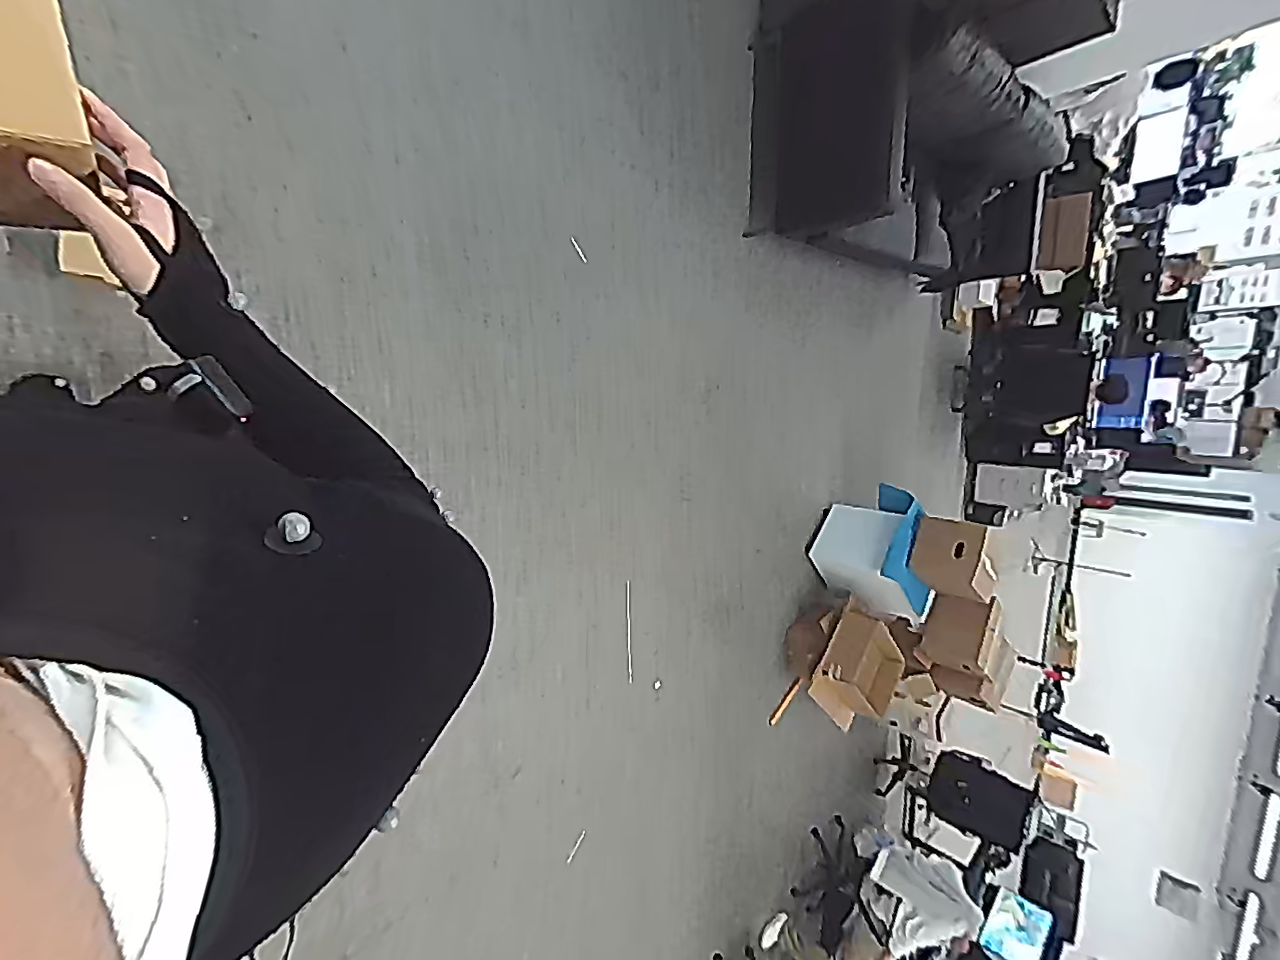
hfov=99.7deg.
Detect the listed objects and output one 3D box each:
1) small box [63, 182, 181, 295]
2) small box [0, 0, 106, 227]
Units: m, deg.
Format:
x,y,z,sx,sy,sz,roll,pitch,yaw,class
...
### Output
x,y,z,sx,sy,sz,roll,pitch,yaw,class
-1.058,-0.490,1.110,0.168,0.176,0.179,1,97,-44,small box
-0.545,-0.312,0.412,0.179,0.176,0.168,-14,96,-39,small box
